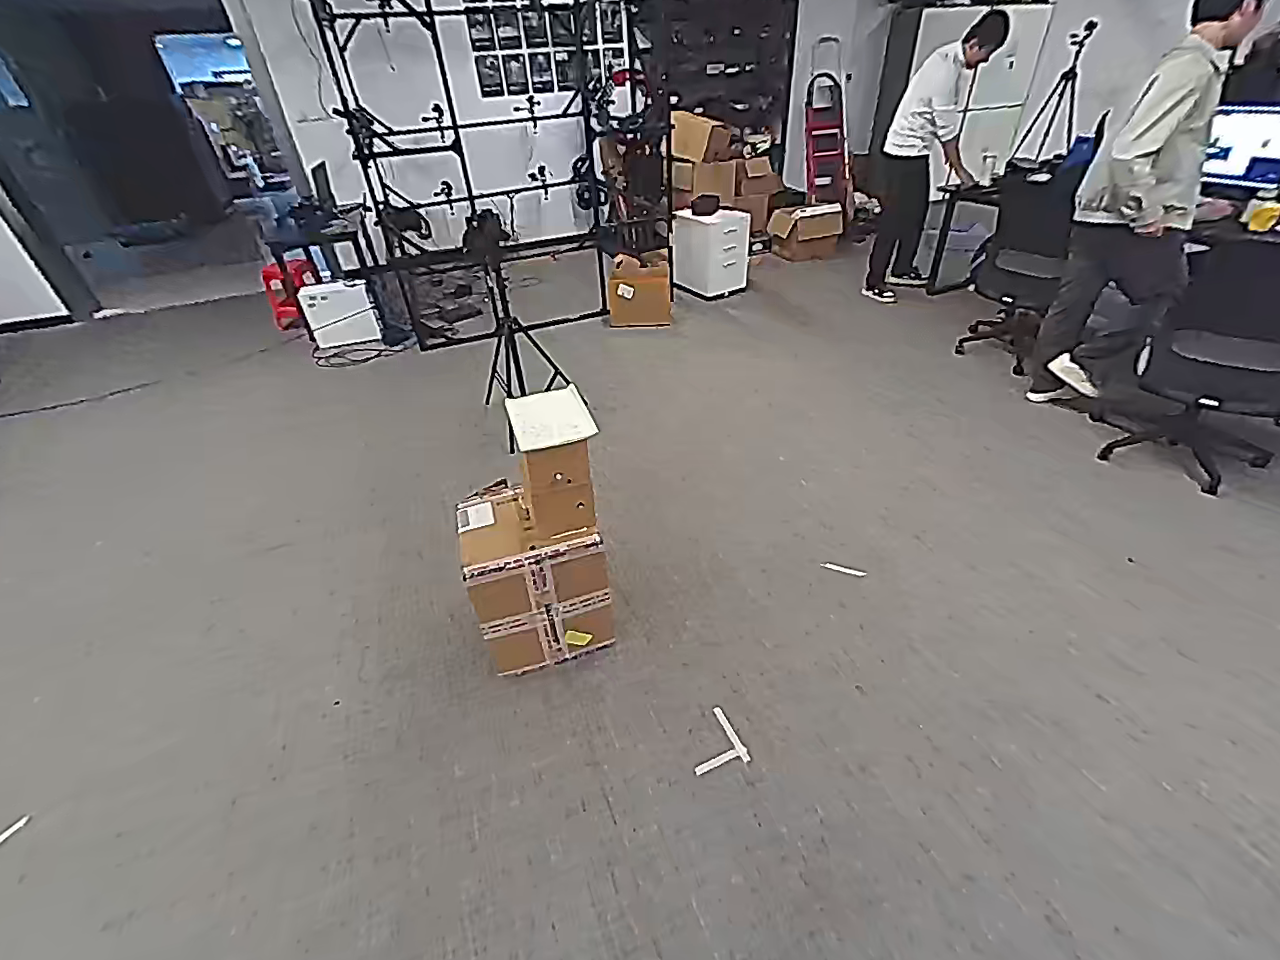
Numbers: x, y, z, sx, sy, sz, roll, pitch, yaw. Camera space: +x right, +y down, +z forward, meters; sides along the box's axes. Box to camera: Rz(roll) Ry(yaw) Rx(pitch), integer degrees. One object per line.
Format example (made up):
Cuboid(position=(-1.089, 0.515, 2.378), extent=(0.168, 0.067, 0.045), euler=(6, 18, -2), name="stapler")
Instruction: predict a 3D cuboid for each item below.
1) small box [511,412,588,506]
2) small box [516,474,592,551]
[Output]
Cuboid(position=(-0.241, -0.056, 1.445), extent=(0.168, 0.176, 0.179), euler=(-13, 40, -15), name="small box")
Cuboid(position=(-0.242, 0.075, 1.544), extent=(0.179, 0.176, 0.168), euler=(-16, 40, -17), name="small box")
